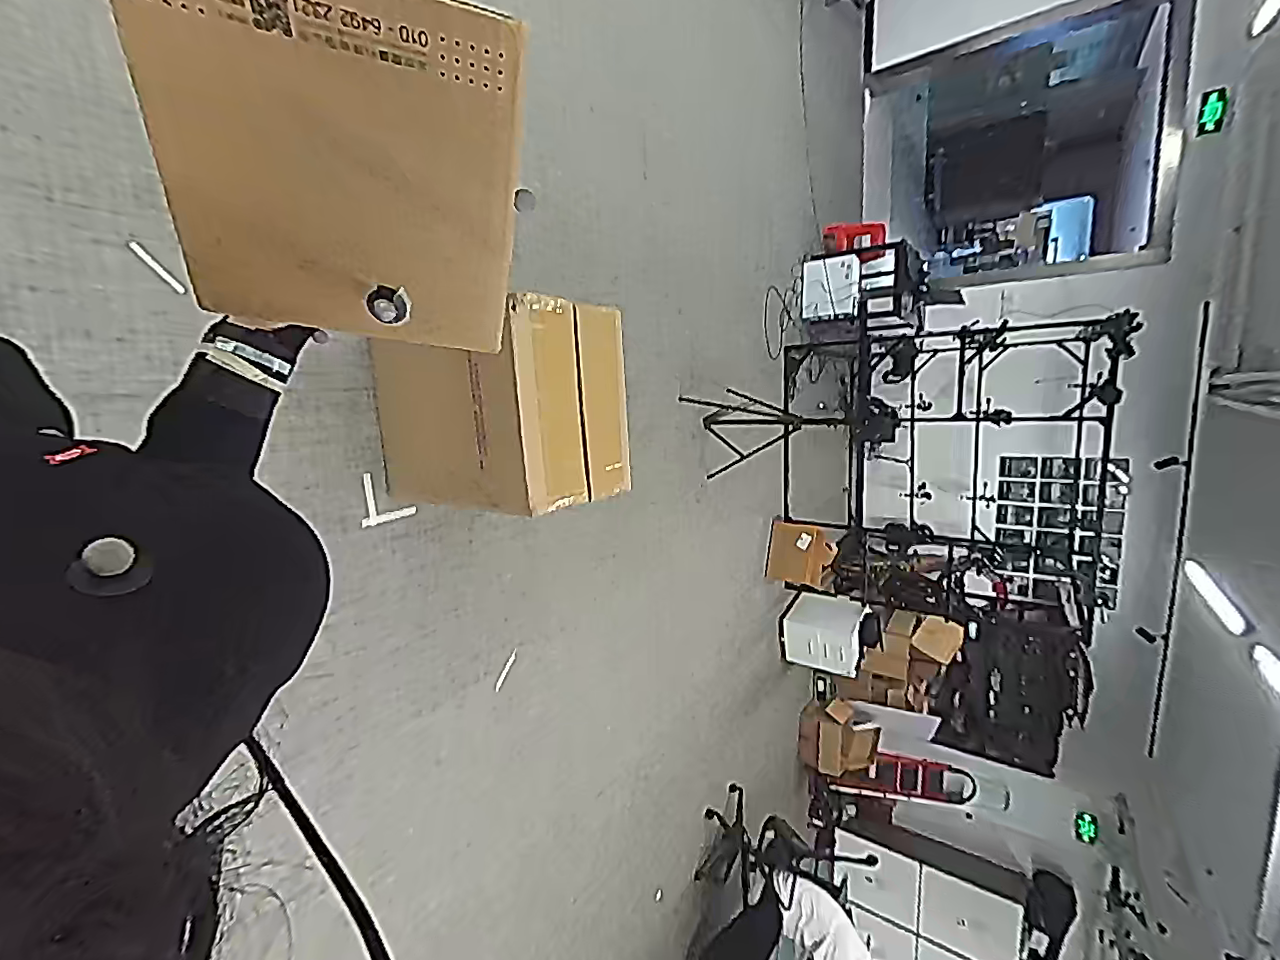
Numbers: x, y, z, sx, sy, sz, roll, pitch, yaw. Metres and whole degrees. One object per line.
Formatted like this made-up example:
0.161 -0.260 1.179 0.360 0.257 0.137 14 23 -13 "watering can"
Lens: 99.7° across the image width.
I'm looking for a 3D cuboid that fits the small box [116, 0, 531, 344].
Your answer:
-0.159 -0.210 0.330 0.179 0.168 0.176 -101 -158 -48 "small box"
